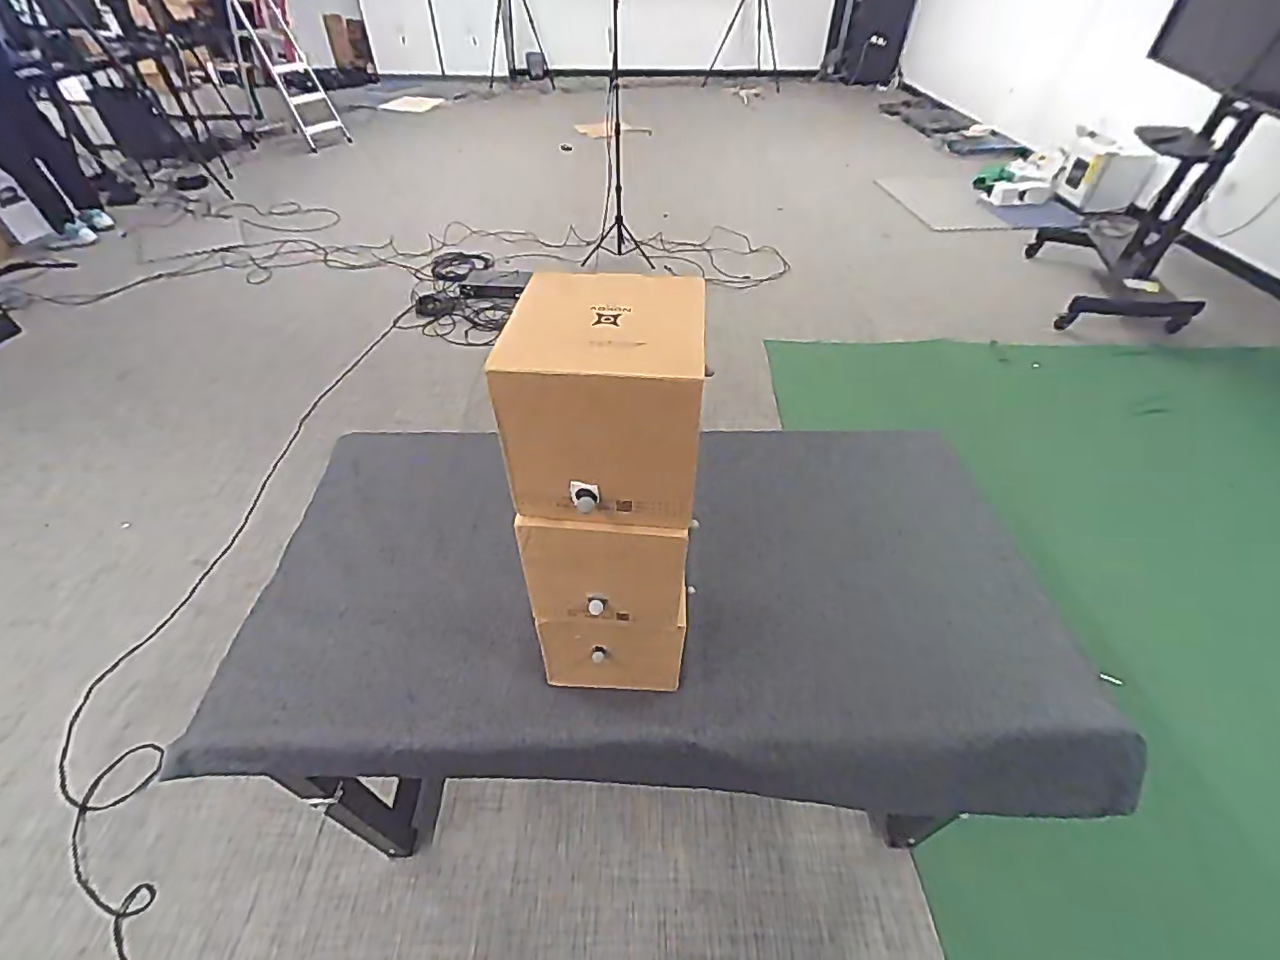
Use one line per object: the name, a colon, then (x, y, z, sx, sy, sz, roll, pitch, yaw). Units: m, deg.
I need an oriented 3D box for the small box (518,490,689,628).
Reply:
small box: (-0.029, 0.043, 0.620, 0.168, 0.176, 0.179, 5, 45, 4)

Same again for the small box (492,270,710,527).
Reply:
small box: (-0.024, -0.078, 0.513, 0.168, 0.176, 0.179, 3, 45, 4)

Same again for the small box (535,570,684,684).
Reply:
small box: (-0.032, 0.162, 0.734, 0.179, 0.176, 0.168, 3, 45, 2)
